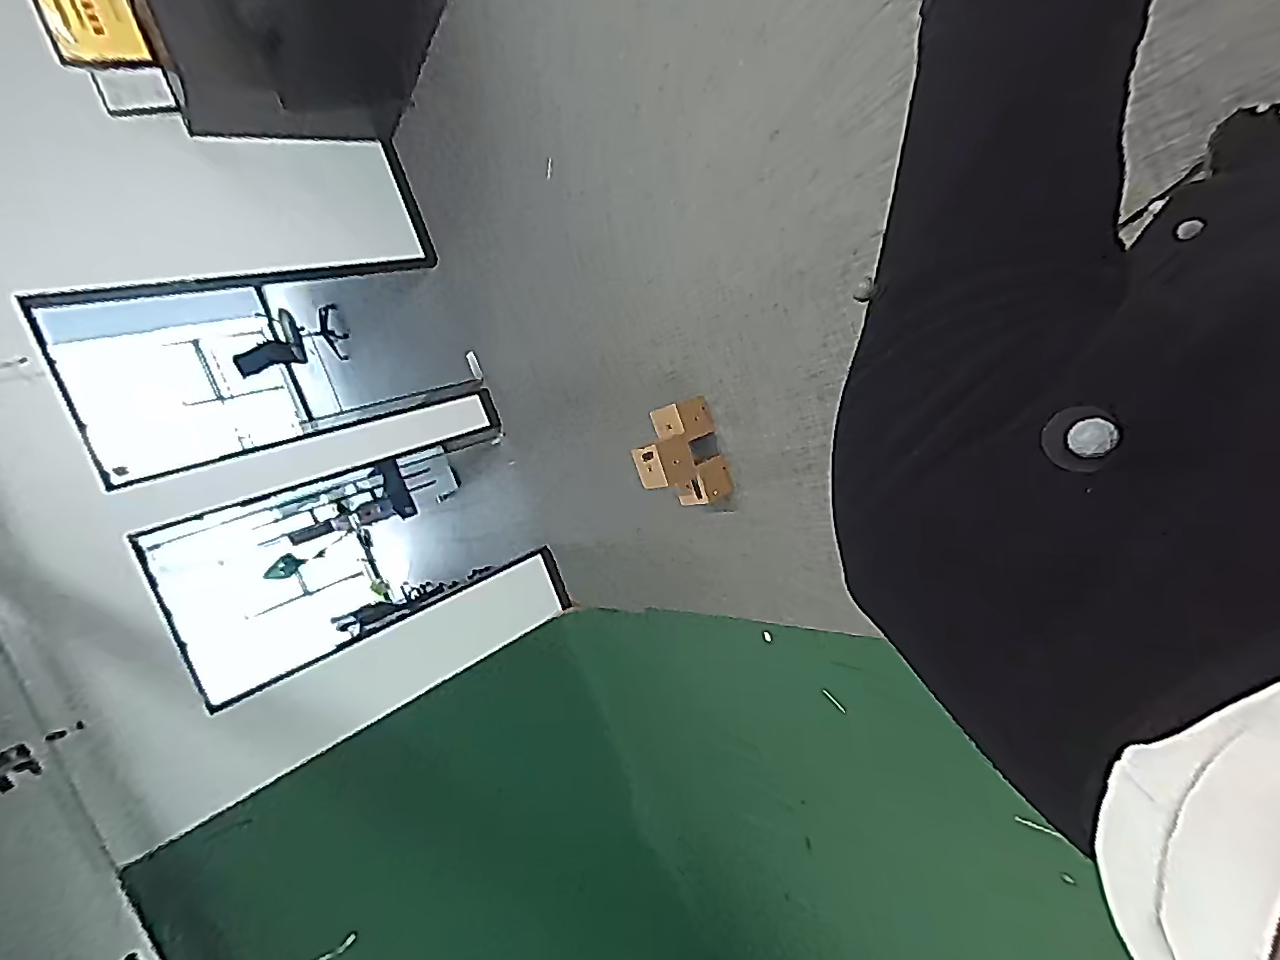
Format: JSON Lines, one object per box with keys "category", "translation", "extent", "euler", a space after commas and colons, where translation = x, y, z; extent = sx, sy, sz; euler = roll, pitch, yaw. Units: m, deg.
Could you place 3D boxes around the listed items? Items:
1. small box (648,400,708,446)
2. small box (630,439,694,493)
{"category": "small box", "translation": [0.170, -0.231, 2.292], "extent": [0.179, 0.176, 0.168], "euler": [-11, 100, 53]}
{"category": "small box", "translation": [0.091, -0.060, 2.206], "extent": [0.168, 0.176, 0.179], "euler": [-9, 103, 53]}
